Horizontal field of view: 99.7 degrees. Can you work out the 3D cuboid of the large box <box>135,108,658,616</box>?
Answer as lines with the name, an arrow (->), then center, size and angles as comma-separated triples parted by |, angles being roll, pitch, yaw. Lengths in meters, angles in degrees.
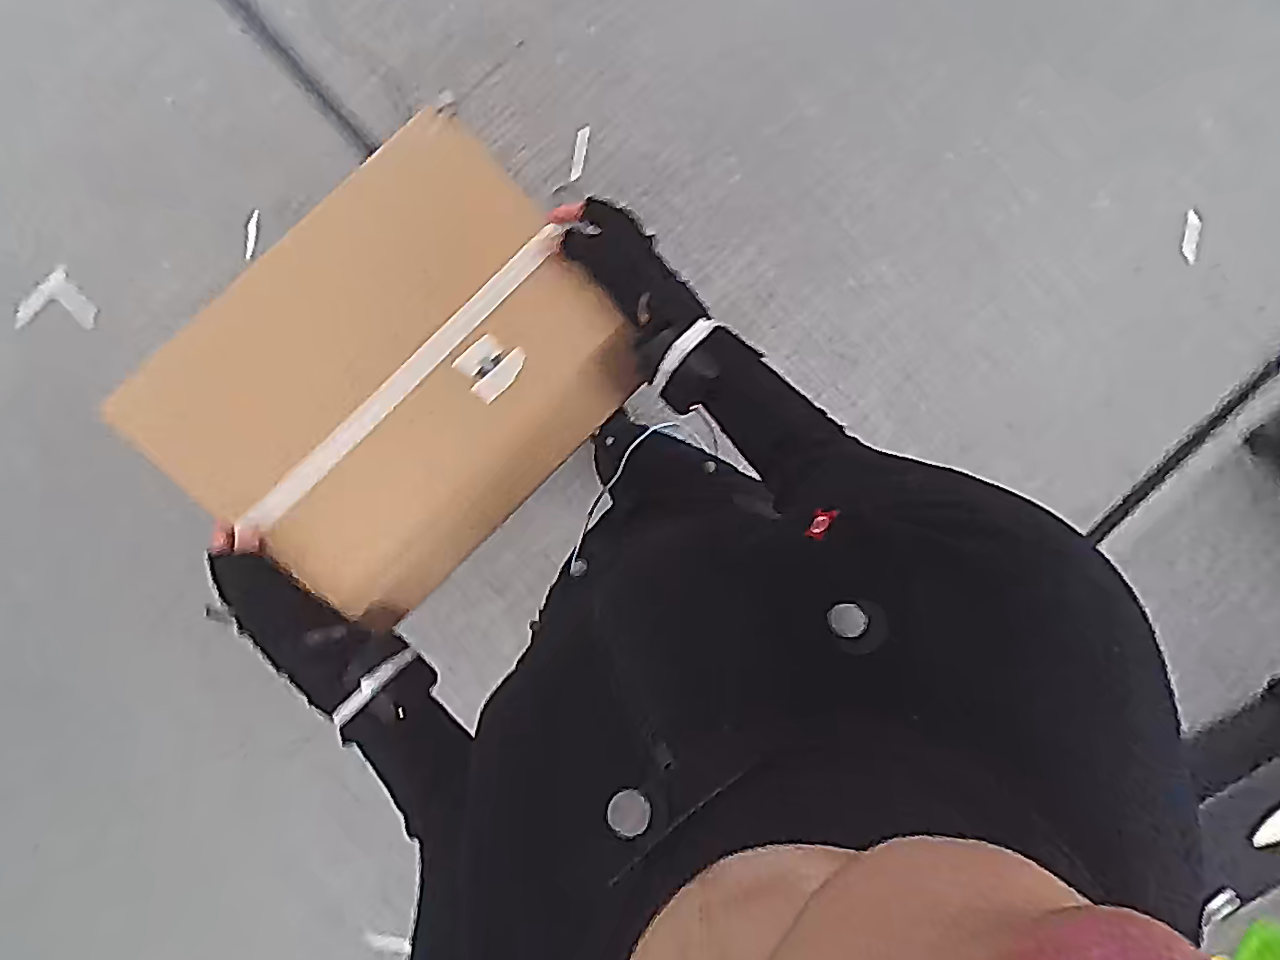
large box -> -0.243, -0.118, 0.670 | 0.408, 0.320, 0.320 | -45, 100, -3
